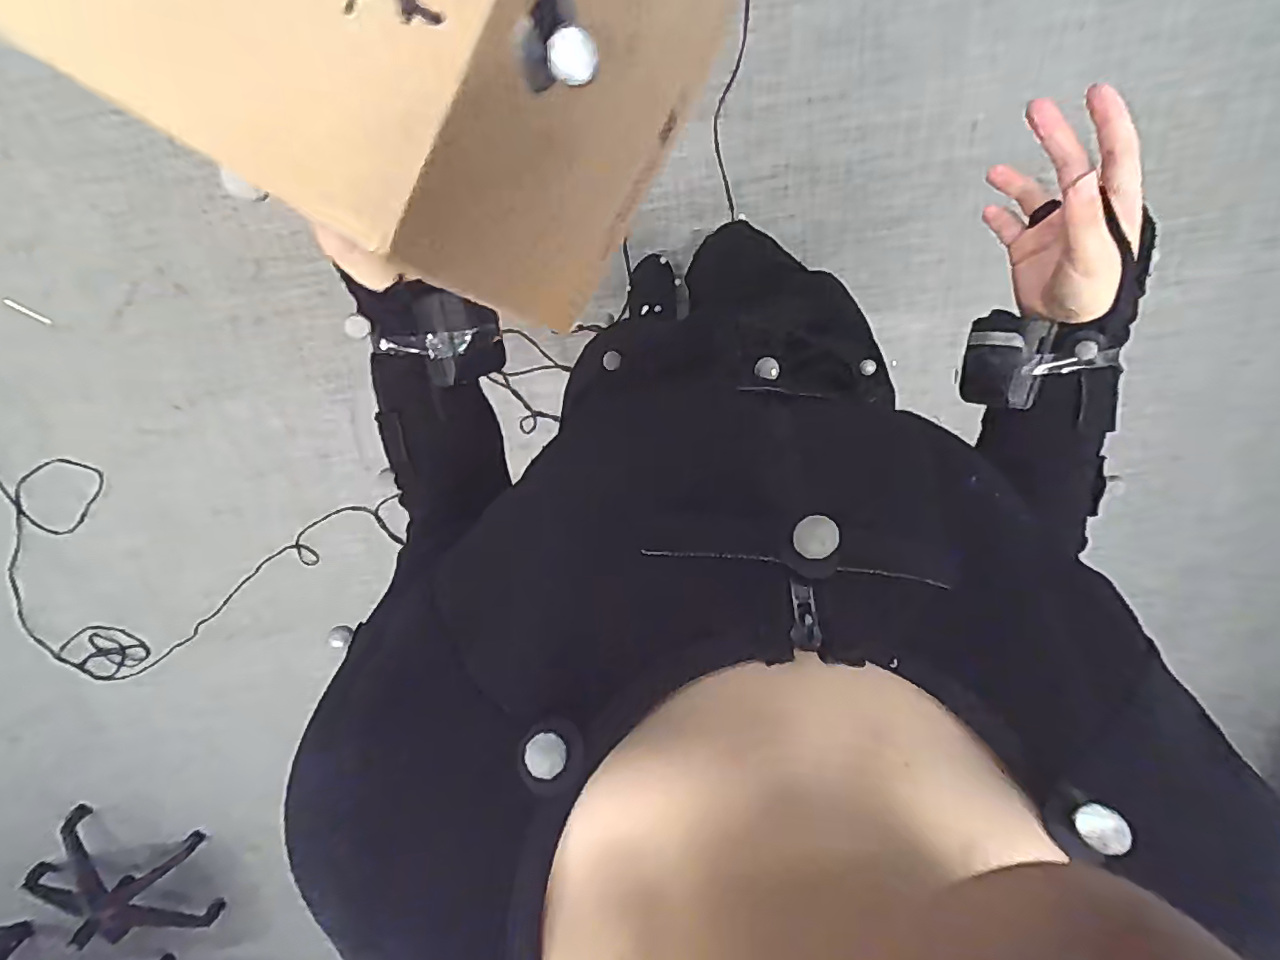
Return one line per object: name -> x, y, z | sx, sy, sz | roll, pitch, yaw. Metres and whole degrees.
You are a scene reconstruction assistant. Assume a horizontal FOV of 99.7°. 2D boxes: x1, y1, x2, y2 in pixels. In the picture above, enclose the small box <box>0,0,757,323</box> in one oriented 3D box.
small box -> -0.069, -0.175, 0.199 | 0.179, 0.176, 0.168 | 31, 102, 3
